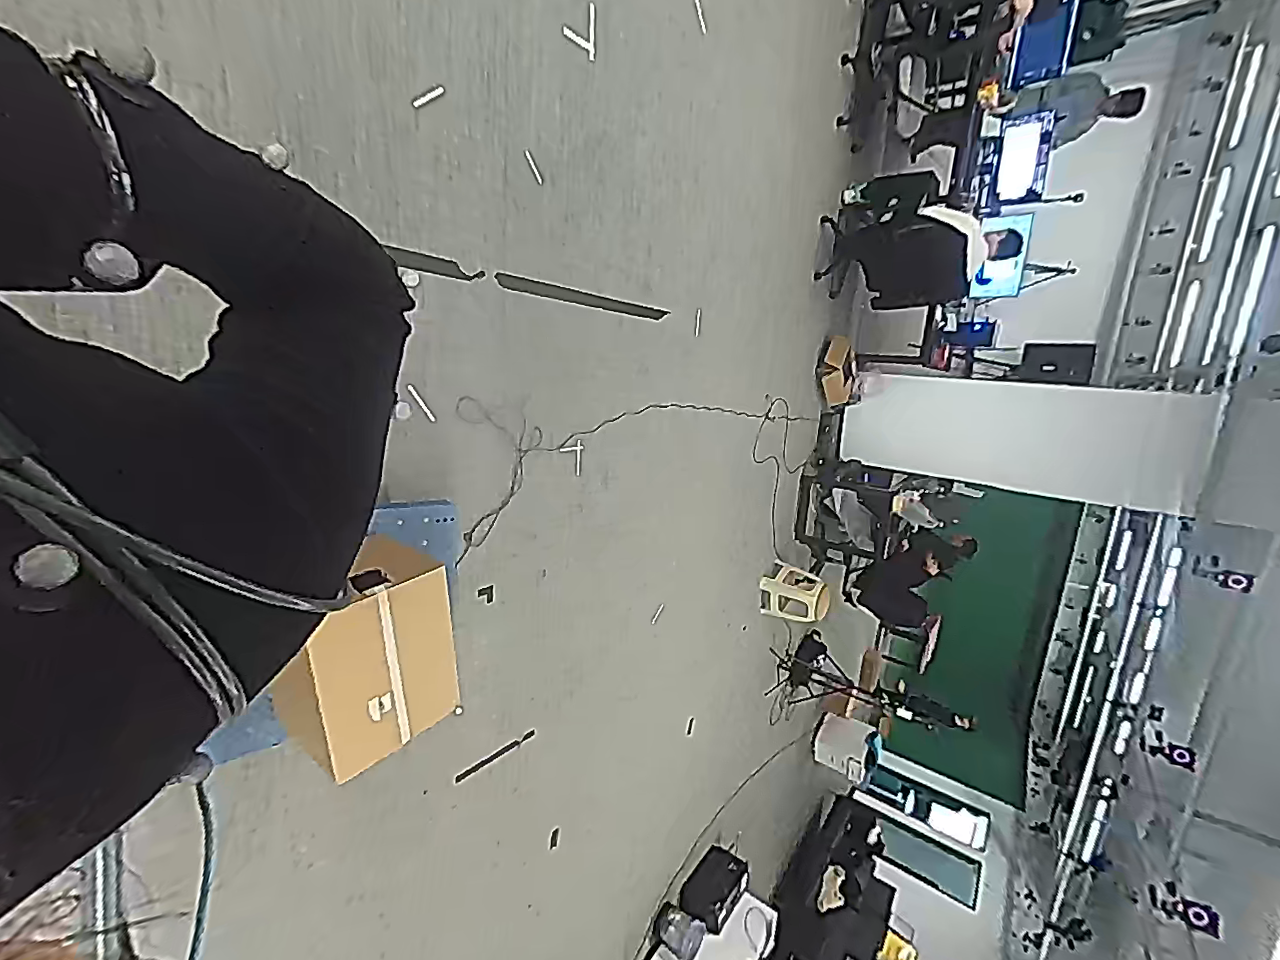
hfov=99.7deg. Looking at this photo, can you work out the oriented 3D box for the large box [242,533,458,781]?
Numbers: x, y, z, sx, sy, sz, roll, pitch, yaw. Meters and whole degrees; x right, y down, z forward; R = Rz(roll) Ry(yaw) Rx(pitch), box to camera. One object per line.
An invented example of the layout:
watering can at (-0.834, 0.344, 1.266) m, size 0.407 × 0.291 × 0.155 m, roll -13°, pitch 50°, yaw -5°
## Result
large box at (-0.672, 0.389, 1.282) m, size 0.320 × 0.320 × 0.408 m, roll -21°, pitch 118°, yaw -49°
